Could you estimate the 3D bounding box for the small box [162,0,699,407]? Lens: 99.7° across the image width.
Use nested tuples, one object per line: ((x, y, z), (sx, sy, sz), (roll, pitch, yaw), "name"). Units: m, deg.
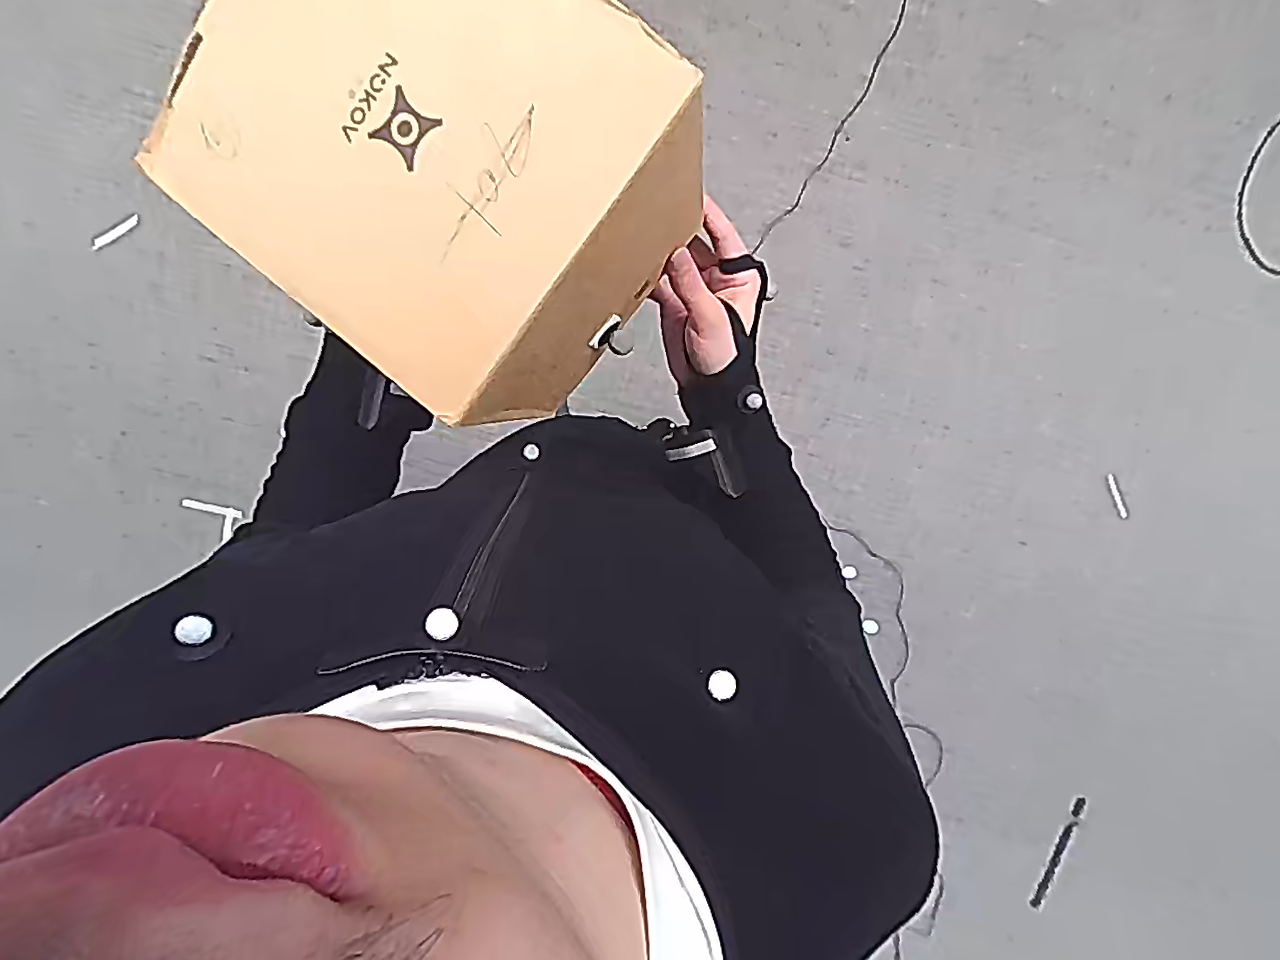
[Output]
((-0.085, -0.156, 0.302), (0.179, 0.176, 0.168), (39, 101, -1), "small box")
